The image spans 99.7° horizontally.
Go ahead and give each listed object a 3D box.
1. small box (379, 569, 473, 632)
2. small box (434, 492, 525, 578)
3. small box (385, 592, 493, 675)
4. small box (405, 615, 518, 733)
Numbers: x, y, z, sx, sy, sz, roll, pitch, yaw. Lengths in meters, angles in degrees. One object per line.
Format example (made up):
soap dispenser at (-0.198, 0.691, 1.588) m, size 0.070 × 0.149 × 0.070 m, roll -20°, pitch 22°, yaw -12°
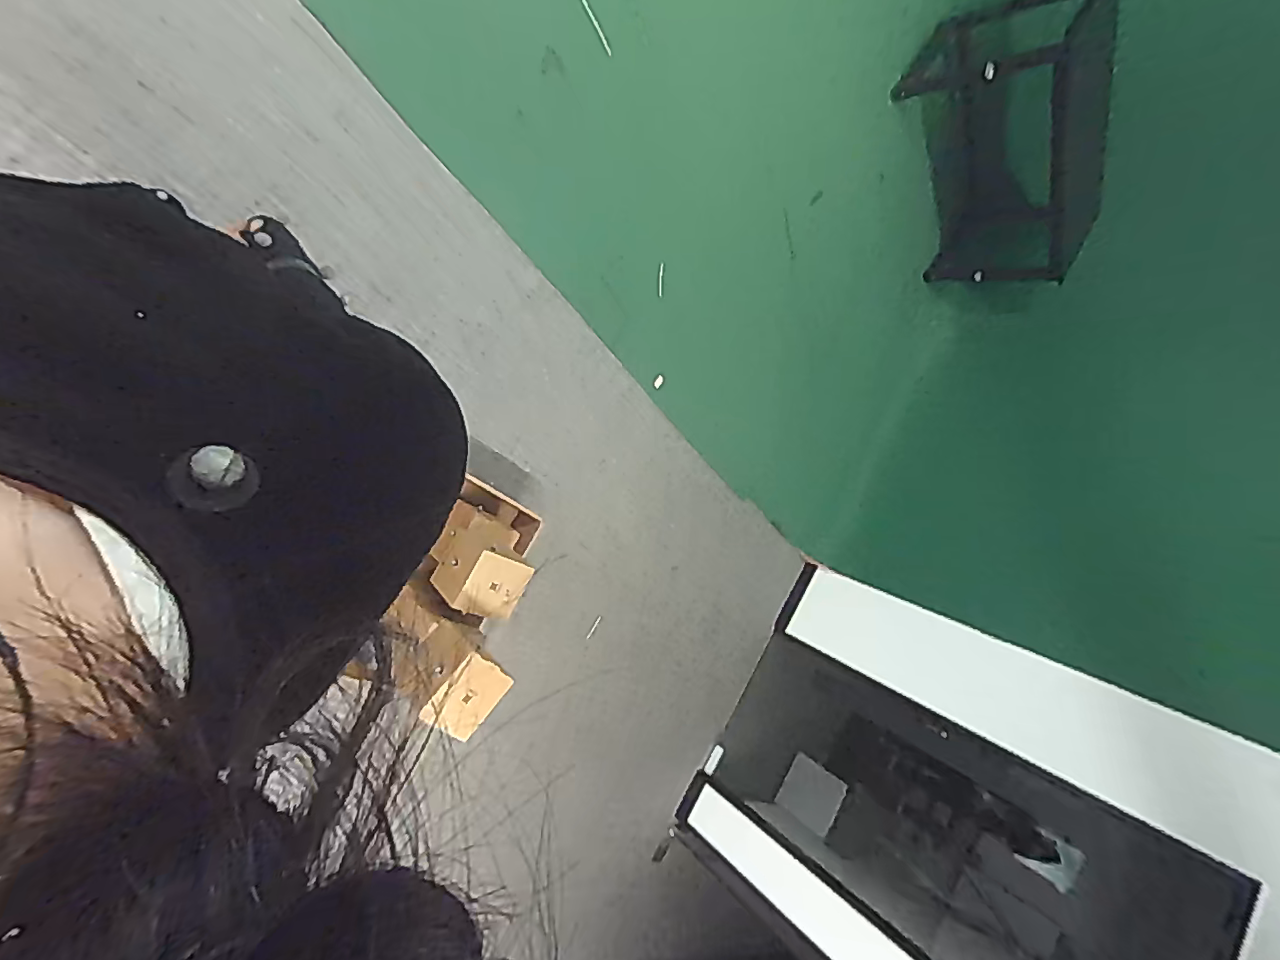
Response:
small box at (-0.620, 0.377, 1.557) m, size 0.168 × 0.176 × 0.179 m, roll 30°, pitch 84°, yaw -44°
small box at (-0.480, 0.159, 1.601) m, size 0.168 × 0.176 × 0.179 m, roll 35°, pitch 84°, yaw -43°
small box at (-0.531, 0.416, 1.424) m, size 0.179 × 0.176 × 0.168 m, roll 36°, pitch 79°, yaw -44°
small box at (-0.436, 0.459, 1.298) m, size 0.179 × 0.176 × 0.168 m, roll -50°, pitch 131°, yaw -18°
